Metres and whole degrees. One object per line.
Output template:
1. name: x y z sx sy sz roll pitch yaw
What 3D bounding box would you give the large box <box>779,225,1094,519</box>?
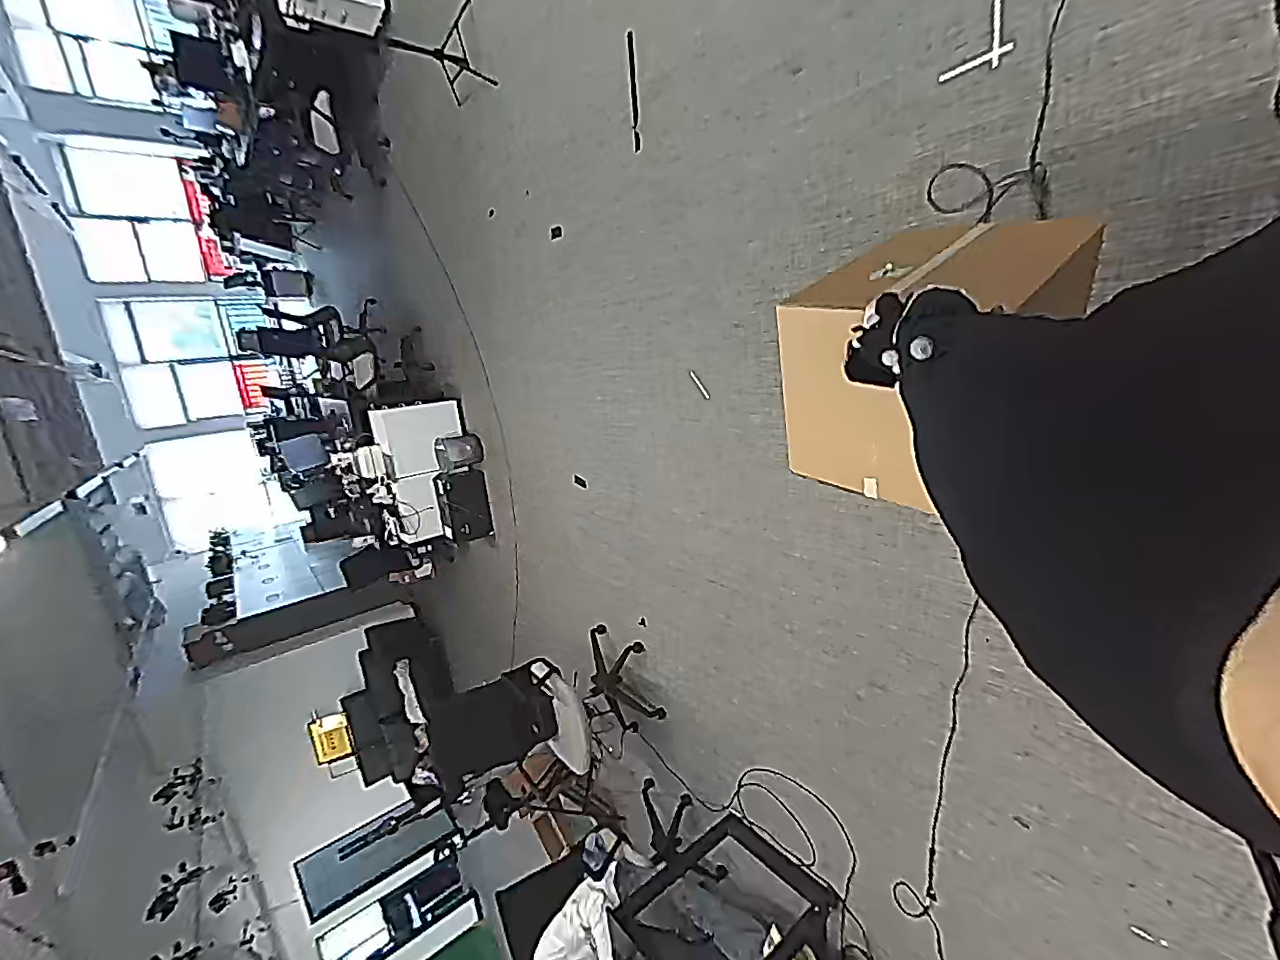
1. large box: 0.489 -0.201 0.910 0.320 0.408 0.320 21 138 45
